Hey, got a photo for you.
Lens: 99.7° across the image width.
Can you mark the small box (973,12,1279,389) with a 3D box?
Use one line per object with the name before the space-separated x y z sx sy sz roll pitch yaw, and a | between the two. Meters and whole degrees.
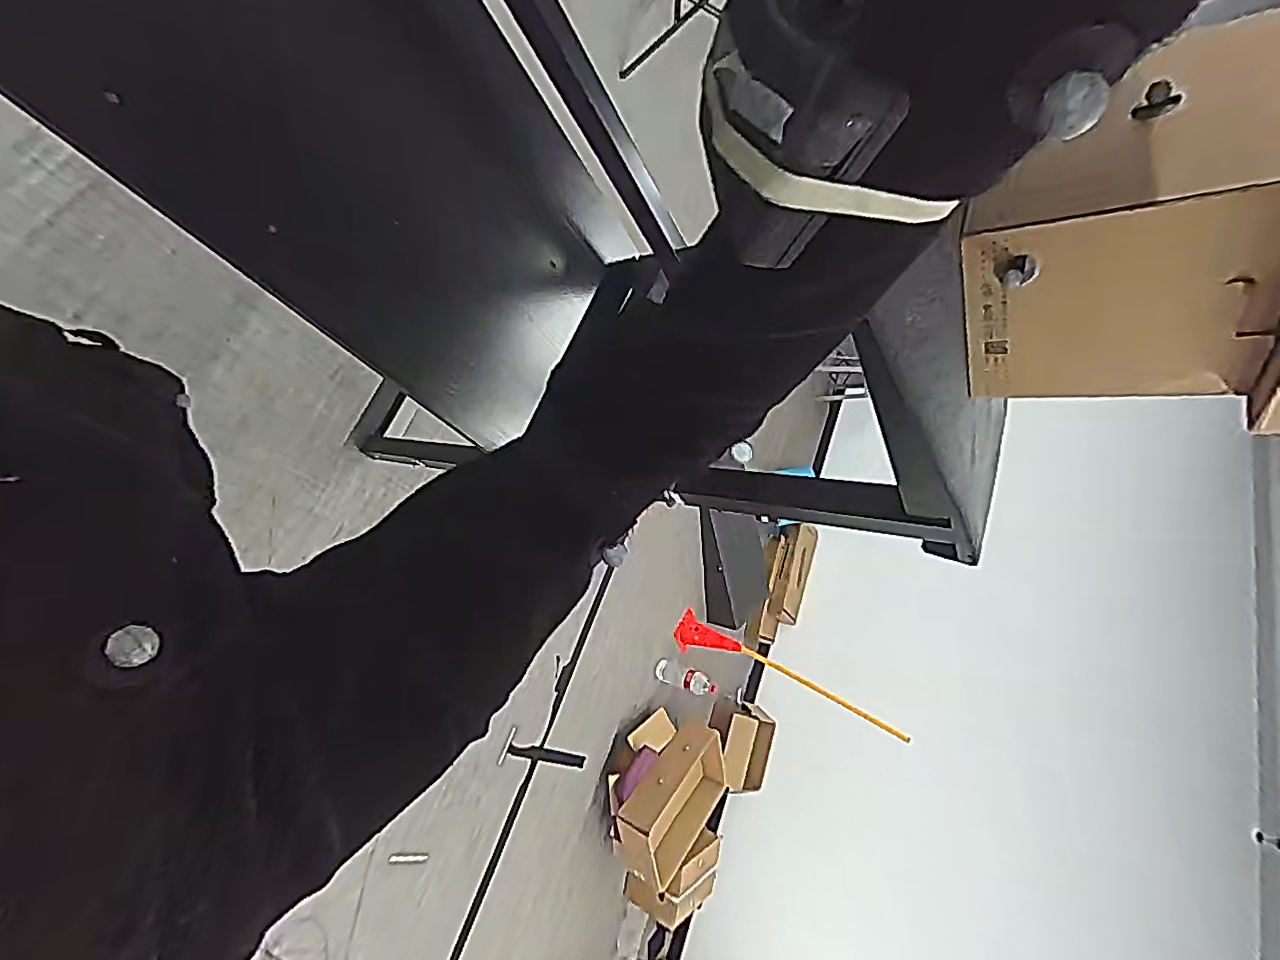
small box | 0.349 -0.181 0.396 0.168 0.176 0.179 50 55 -45
